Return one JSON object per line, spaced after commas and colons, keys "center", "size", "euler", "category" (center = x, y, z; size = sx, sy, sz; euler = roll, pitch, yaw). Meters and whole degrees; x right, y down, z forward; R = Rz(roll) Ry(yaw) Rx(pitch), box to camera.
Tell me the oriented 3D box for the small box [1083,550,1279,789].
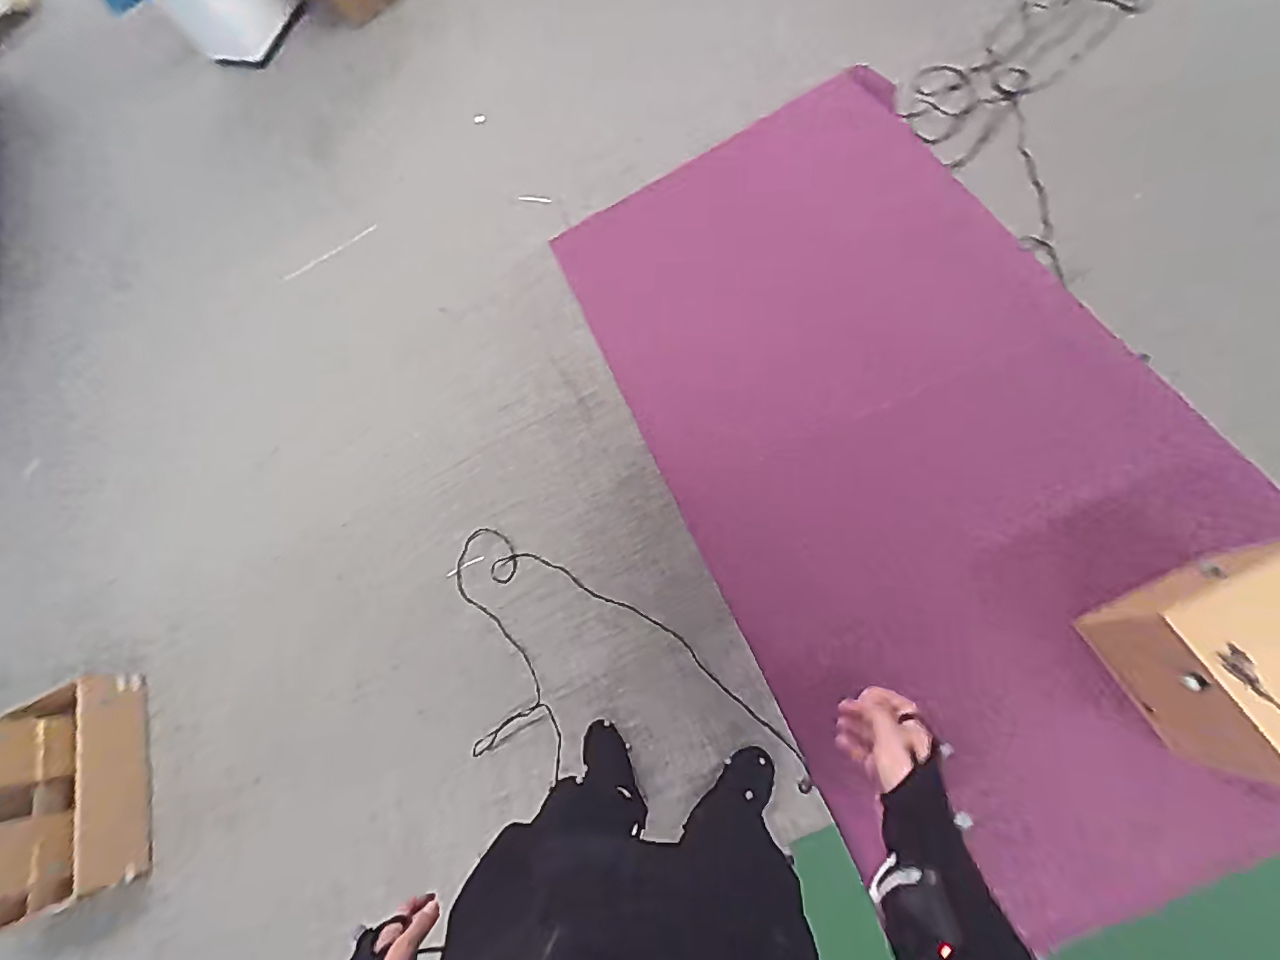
{"center": [0.614, 0.178, 0.541], "size": [0.179, 0.176, 0.168], "euler": [-28, 67, 4], "category": "small box"}
